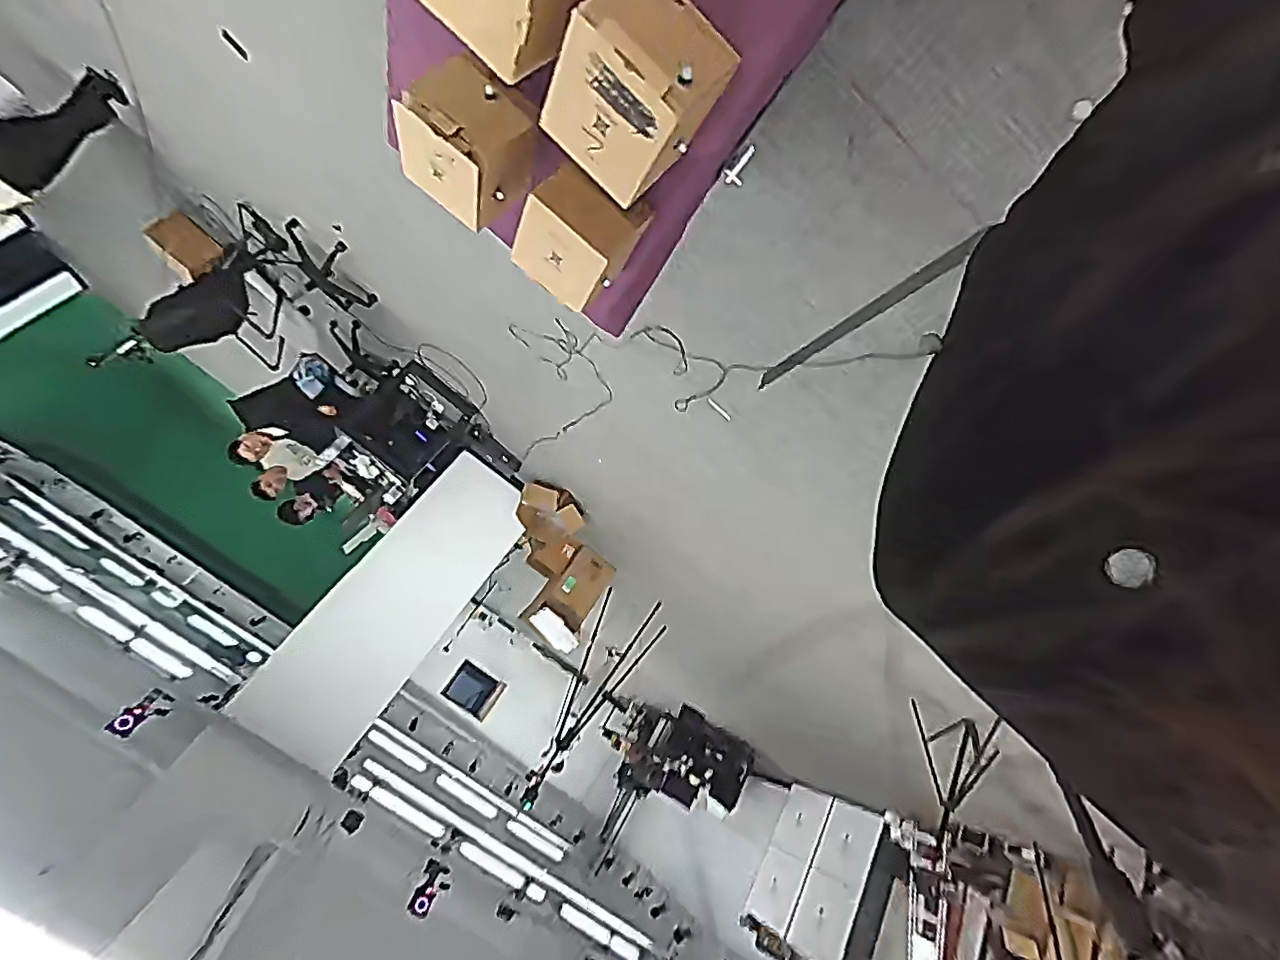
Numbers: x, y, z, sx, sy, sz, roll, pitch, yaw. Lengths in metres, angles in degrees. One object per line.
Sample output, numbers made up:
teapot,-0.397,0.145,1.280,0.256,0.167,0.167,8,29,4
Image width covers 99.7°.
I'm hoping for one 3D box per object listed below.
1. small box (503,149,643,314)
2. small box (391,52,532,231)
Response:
small box,-0.121,-0.449,0.987,0.168,0.176,0.179,38,153,-10
small box,-0.312,-0.594,0.957,0.168,0.176,0.179,37,153,-8
